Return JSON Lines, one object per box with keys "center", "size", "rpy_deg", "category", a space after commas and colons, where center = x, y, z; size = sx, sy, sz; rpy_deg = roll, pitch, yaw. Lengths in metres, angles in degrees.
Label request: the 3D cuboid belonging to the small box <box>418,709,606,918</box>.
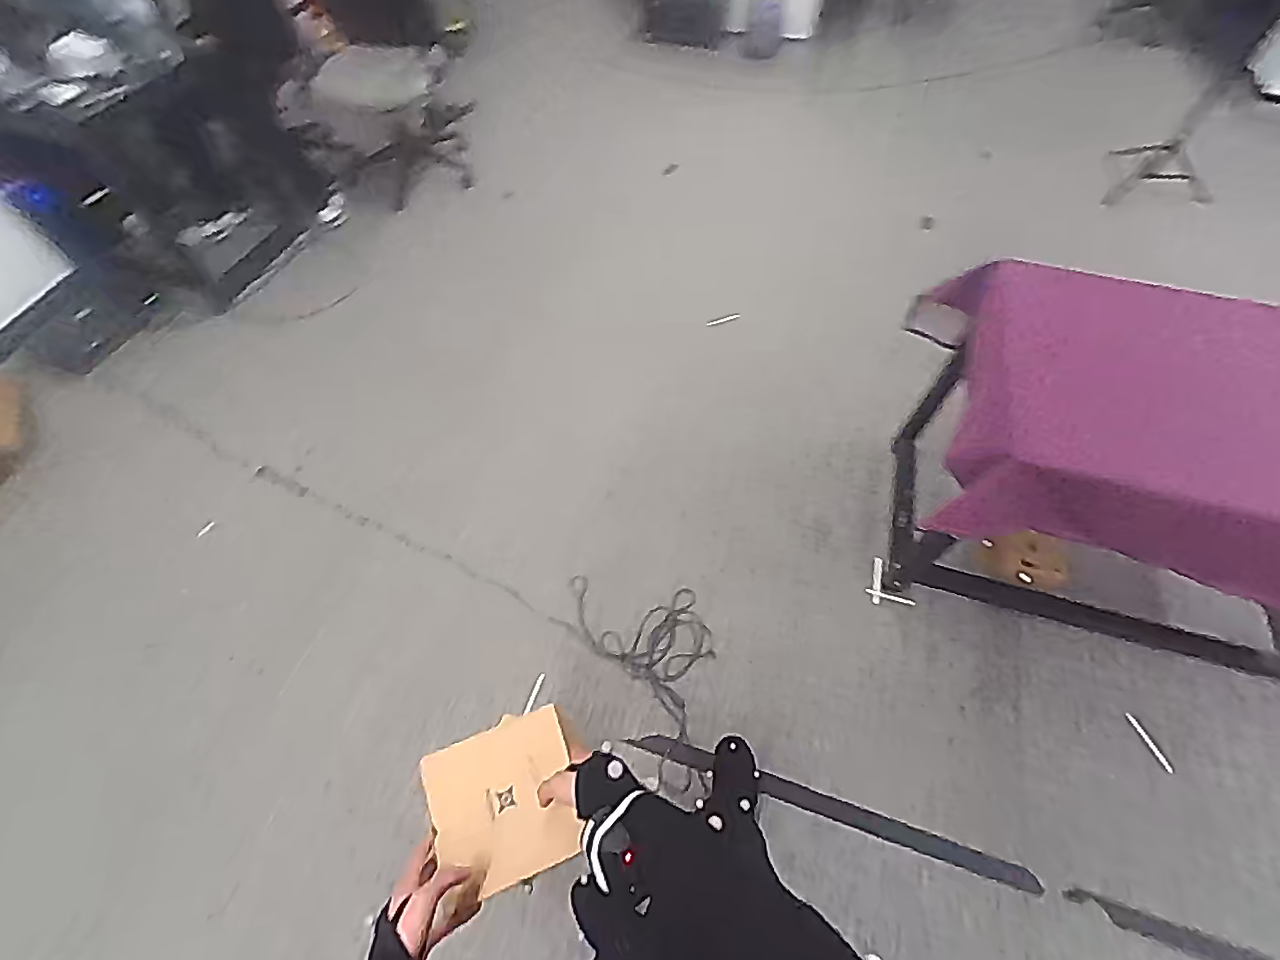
{"center": [-0.156, 0.420, 0.693], "size": [0.179, 0.176, 0.168], "rpy_deg": [-20, 59, -8], "category": "small box"}
